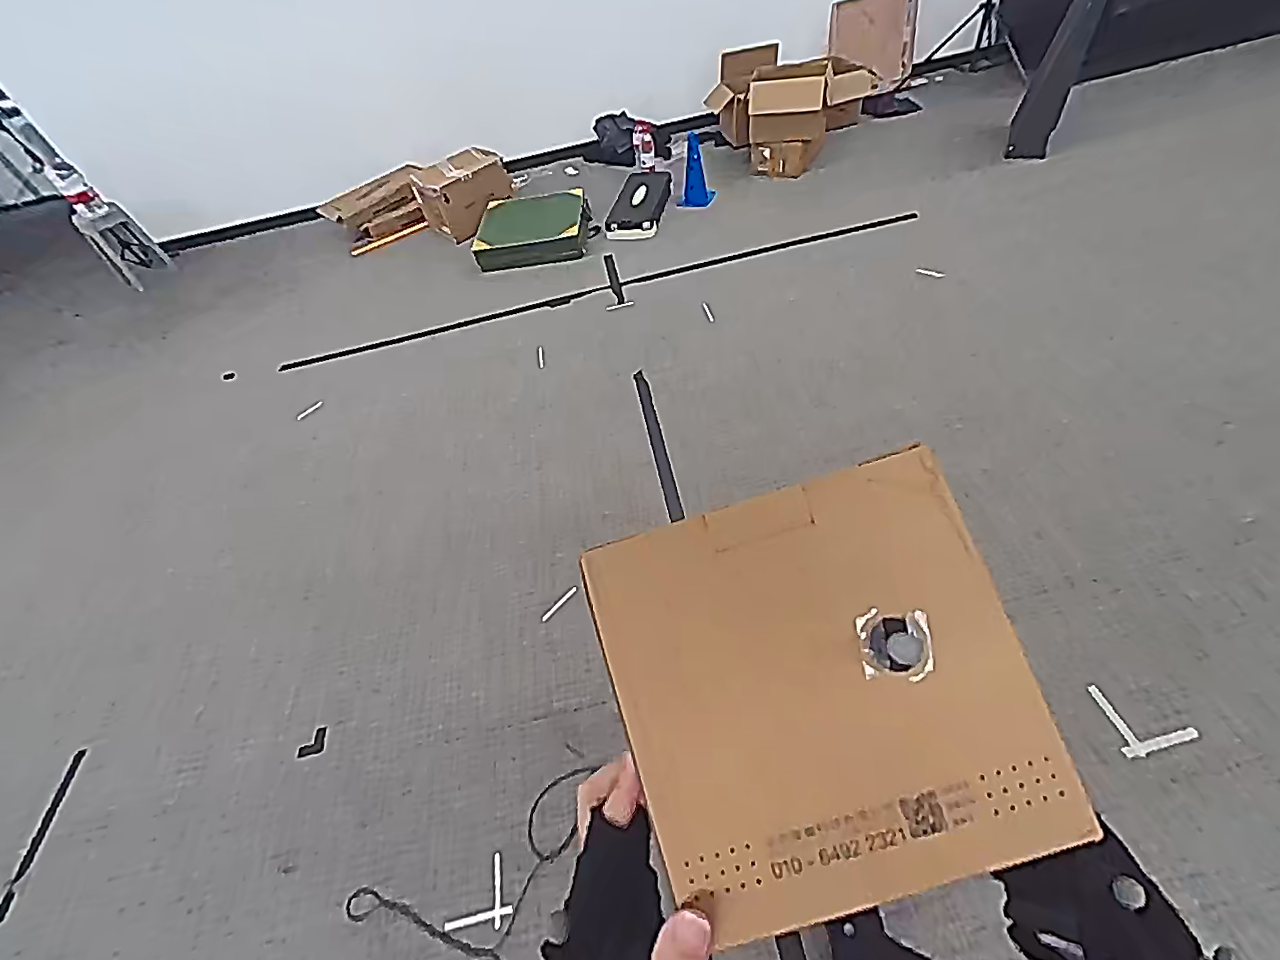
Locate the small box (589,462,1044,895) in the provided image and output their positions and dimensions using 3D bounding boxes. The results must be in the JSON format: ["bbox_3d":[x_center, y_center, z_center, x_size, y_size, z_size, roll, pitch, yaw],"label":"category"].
[{"bbox_3d":[0.085,0.109,0.324,0.168,0.179,0.176,-18,78,3],"label":"small box"}]
